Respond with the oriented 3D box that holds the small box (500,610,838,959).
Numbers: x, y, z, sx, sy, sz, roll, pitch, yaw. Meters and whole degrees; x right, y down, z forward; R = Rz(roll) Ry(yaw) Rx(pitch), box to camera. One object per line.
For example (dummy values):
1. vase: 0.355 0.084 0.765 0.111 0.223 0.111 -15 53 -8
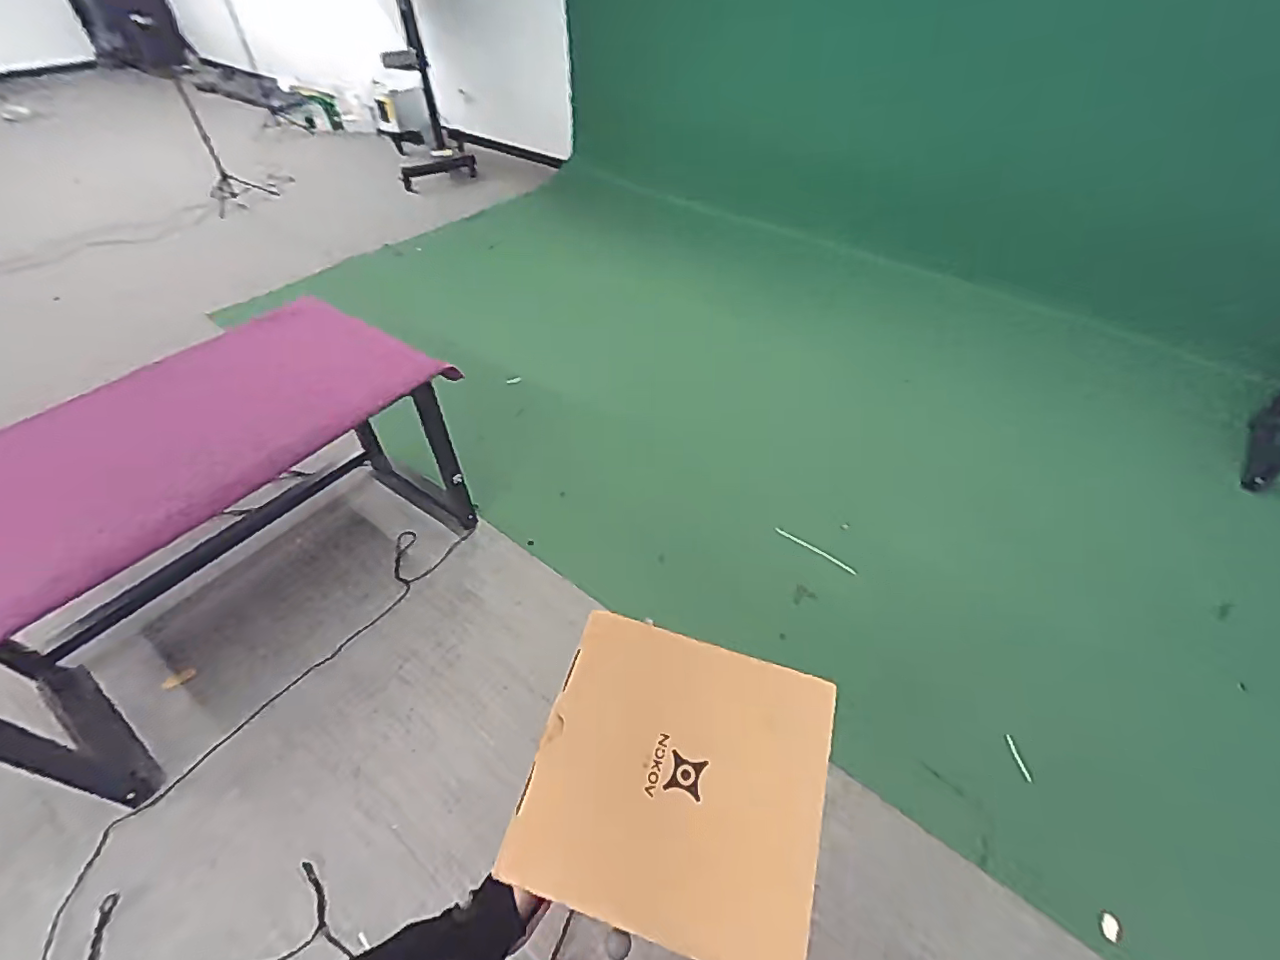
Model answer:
1. small box: 0.026 0.222 0.400 0.179 0.176 0.168 14 57 10
